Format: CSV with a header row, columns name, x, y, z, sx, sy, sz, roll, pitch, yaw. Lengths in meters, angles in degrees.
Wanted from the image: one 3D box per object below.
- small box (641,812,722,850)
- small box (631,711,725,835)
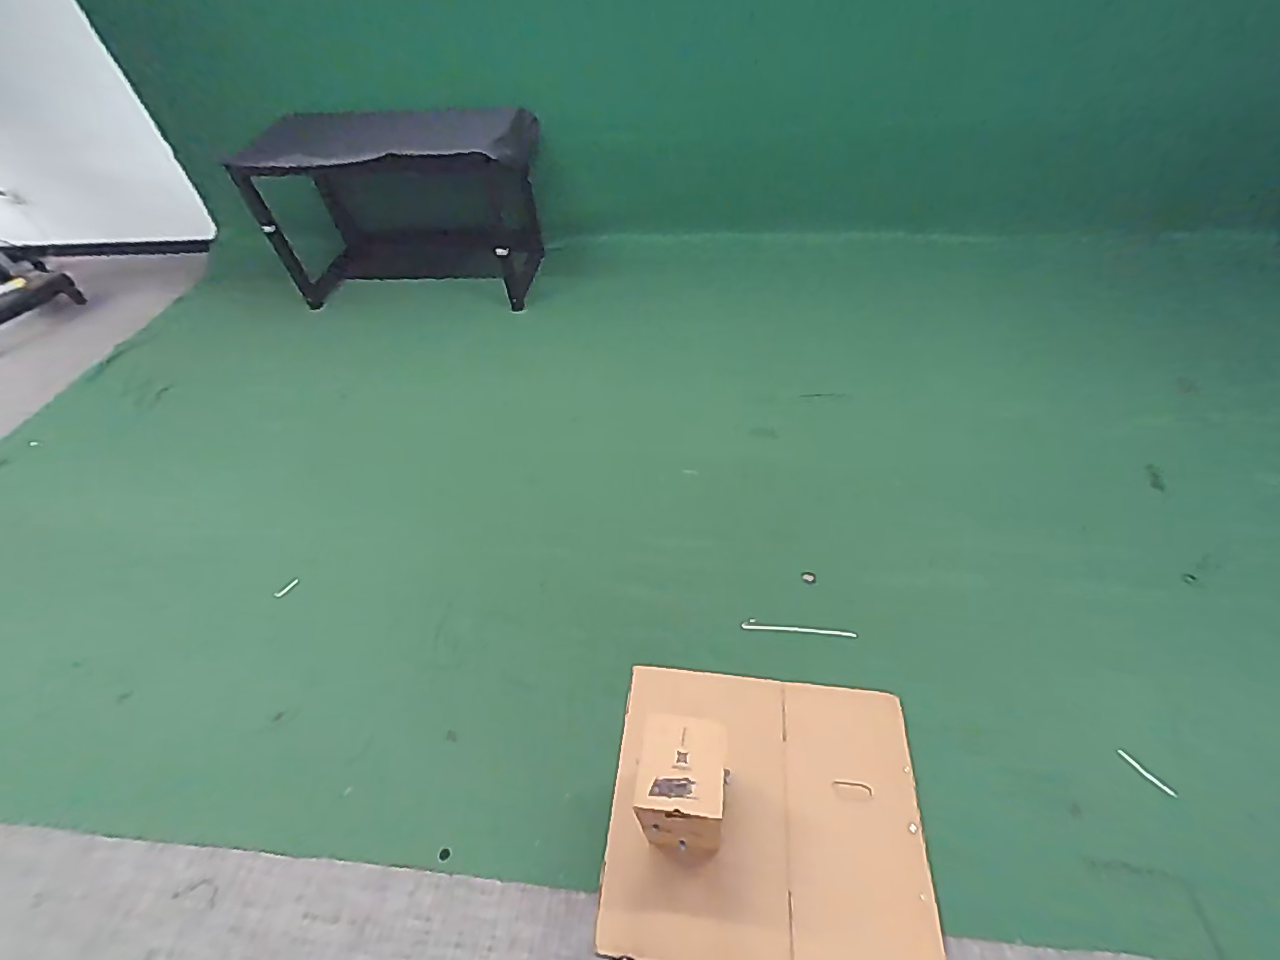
name,x,y,z,sx,sy,sz,roll,pitch,yaw
small box,0.098,0.700,1.204,0.168,0.176,0.179,1,49,8
small box,0.083,0.590,1.083,0.168,0.176,0.179,3,48,9
